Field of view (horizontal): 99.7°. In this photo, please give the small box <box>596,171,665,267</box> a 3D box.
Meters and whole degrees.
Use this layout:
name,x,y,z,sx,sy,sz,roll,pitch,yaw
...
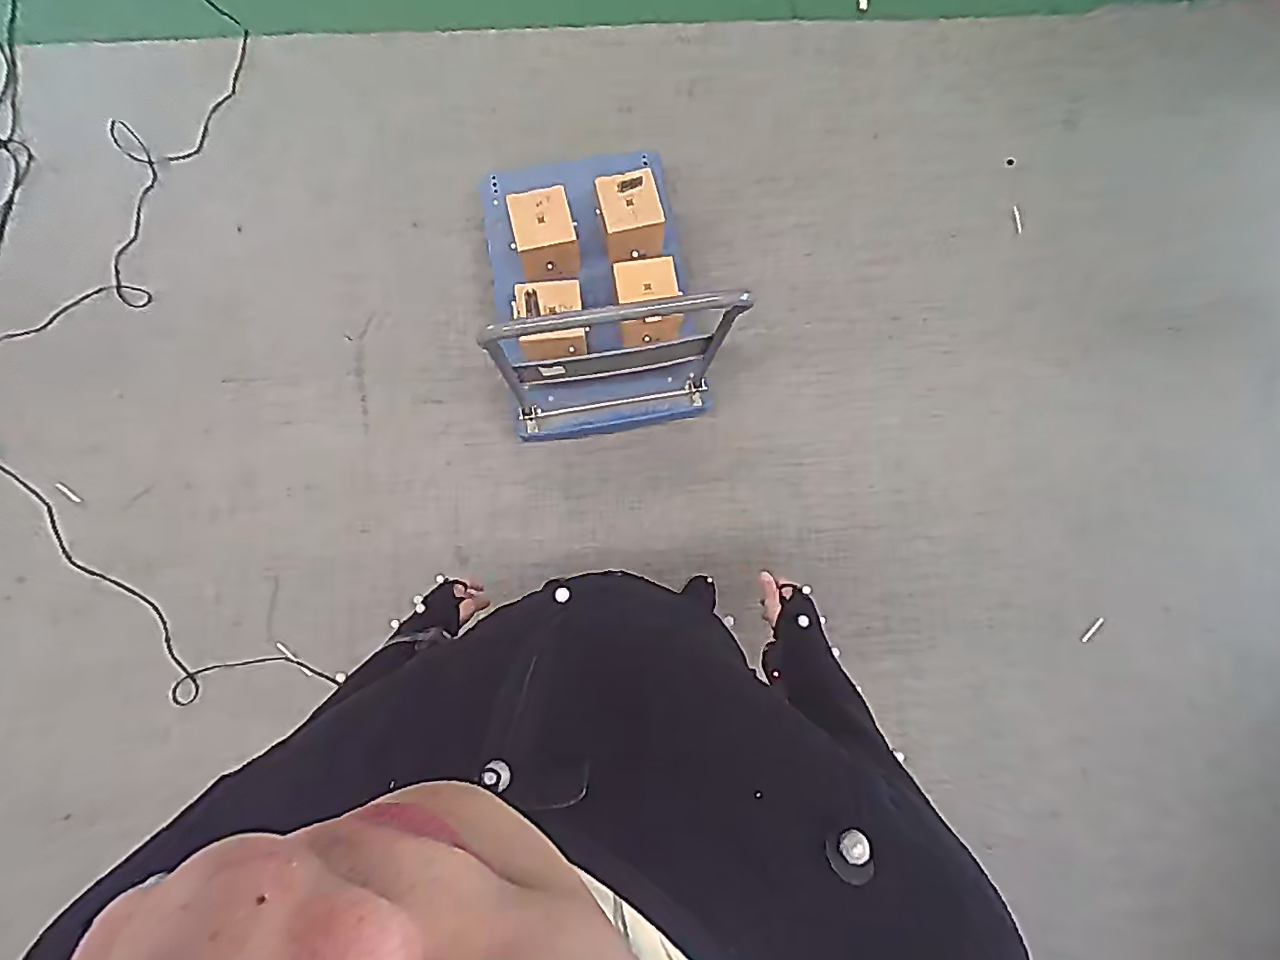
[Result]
name,x,y,z,sx,sy,sz,roll,pitch,yaw
small box,-0.030,-0.756,1.580,0.168,0.176,0.179,-14,82,-3

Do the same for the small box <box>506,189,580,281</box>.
name,x,y,z,sx,sy,sz,roll,pitch,yaw
small box,-0.274,-0.696,1.561,0.168,0.176,0.179,-13,81,-5

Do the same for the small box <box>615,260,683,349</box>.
name,x,y,z,sx,sy,sz,roll,pitch,yaw
small box,0.020,-0.494,1.537,0.168,0.176,0.179,-9,81,-4
